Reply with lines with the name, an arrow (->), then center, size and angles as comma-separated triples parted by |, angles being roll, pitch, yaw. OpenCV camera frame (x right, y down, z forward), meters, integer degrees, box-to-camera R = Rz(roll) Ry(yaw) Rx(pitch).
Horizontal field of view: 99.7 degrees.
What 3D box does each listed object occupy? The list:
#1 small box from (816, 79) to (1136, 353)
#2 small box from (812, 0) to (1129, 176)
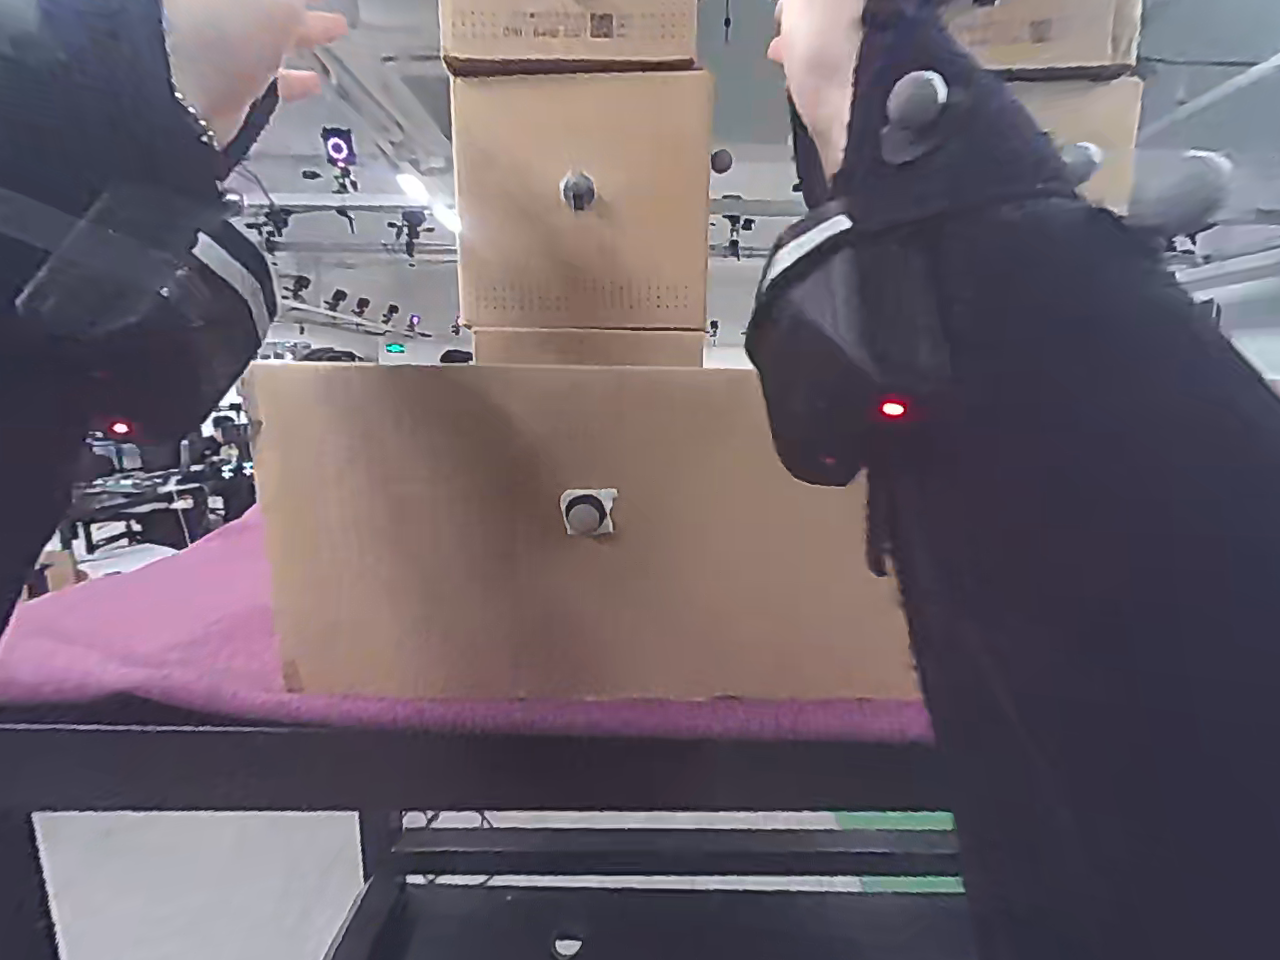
small box -> 0.254, -0.199, 0.459 | 0.168, 0.176, 0.179 | -1, 9, 2
small box -> 0.240, -0.359, 0.429 | 0.168, 0.176, 0.179 | 0, 9, 3
